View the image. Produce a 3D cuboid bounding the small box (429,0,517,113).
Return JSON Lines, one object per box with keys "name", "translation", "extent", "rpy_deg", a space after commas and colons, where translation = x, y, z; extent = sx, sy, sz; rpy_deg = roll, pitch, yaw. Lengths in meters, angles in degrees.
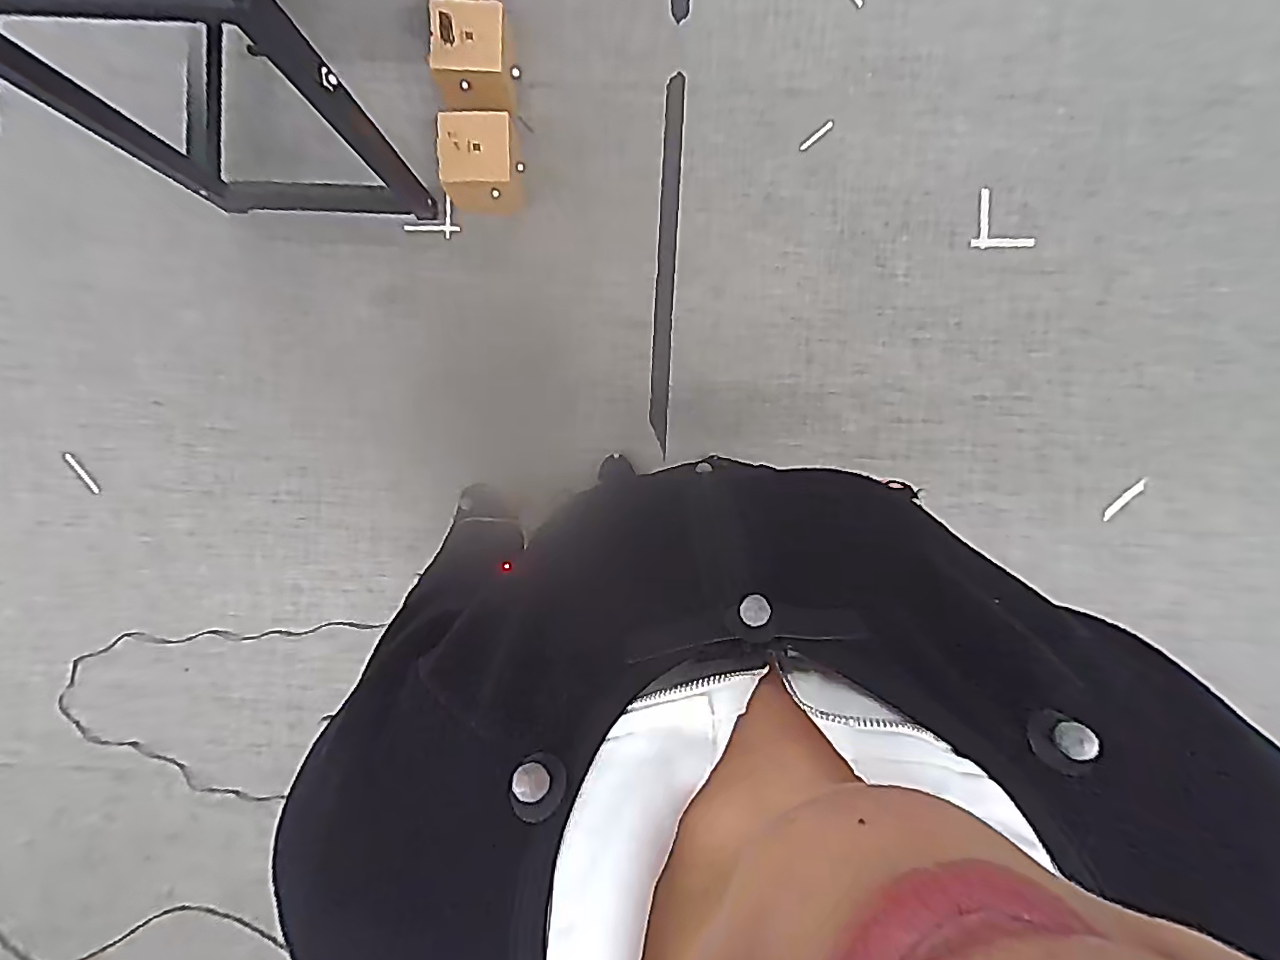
{"name": "small box", "translation": [-0.419, -1.068, 1.375], "extent": [0.179, 0.176, 0.168], "rpy_deg": [1, 93, -1]}
